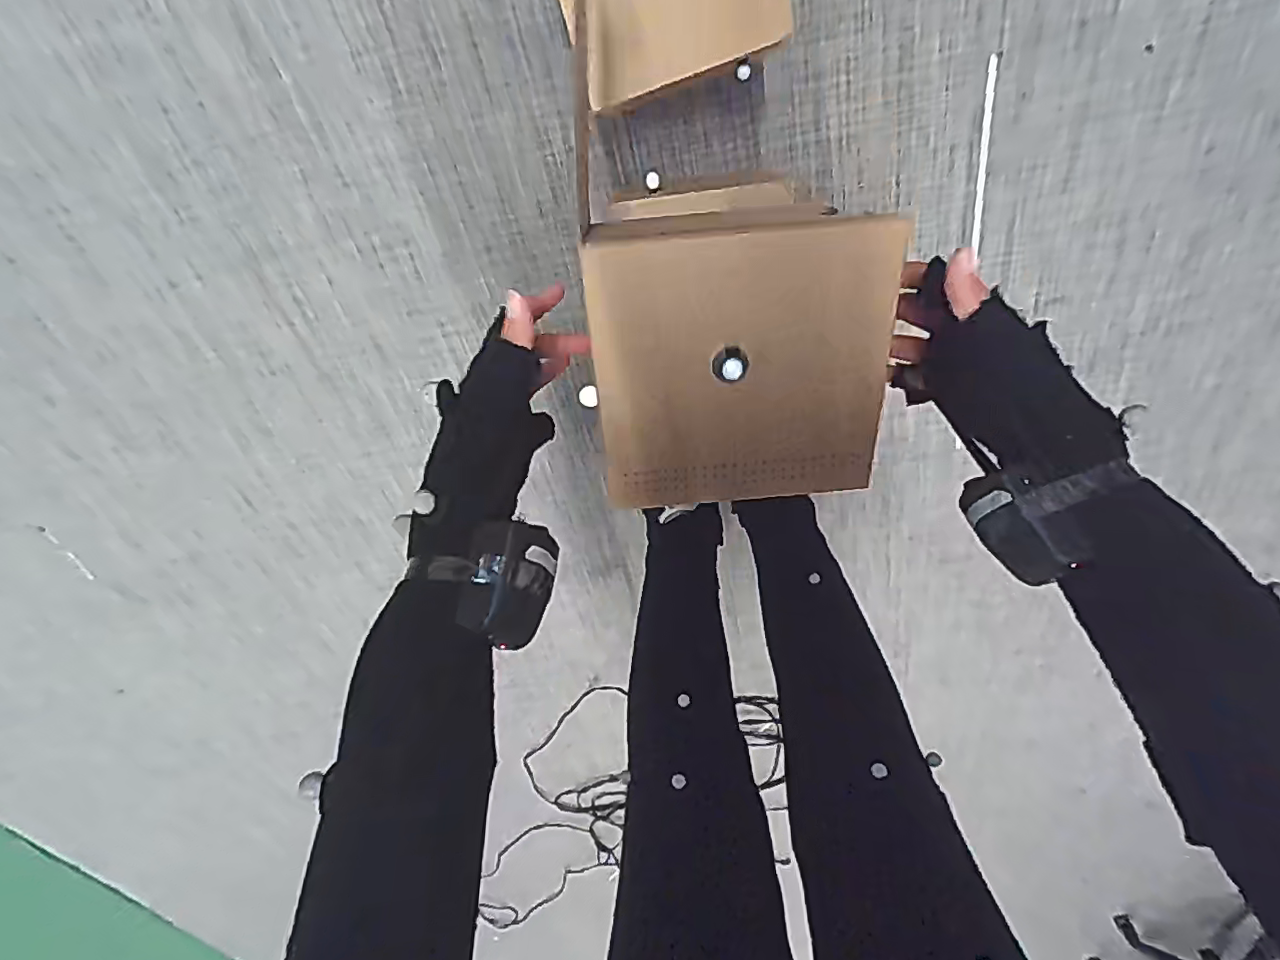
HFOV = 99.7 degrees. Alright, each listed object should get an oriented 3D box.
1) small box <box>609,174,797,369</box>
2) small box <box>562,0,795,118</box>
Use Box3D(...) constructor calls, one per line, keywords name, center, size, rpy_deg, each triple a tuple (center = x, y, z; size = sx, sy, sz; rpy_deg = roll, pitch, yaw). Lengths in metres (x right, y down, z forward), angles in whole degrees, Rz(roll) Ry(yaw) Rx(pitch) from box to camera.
Box3D(name="small box", center=(0.068, -0.237, 0.605), size=(0.179, 0.176, 0.168), rpy_deg=(-5, 122, 5))
Box3D(name="small box", center=(0.023, -0.443, 0.479), size=(0.179, 0.176, 0.168), rpy_deg=(-14, 120, 11))
